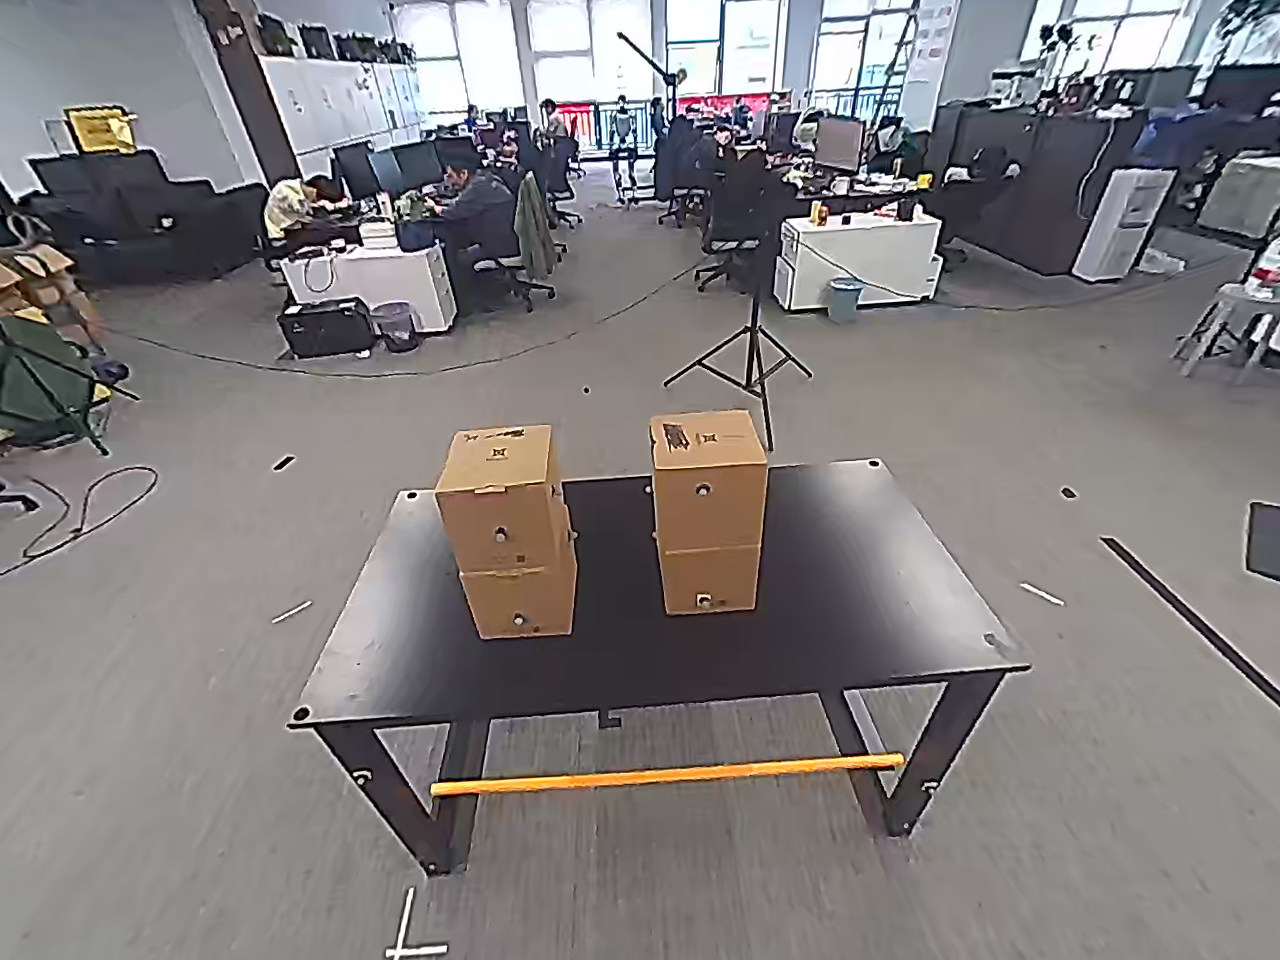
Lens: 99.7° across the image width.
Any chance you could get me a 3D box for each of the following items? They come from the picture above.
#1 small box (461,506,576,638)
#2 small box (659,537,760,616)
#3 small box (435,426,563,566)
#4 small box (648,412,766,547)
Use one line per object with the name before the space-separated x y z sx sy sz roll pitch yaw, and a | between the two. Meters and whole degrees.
small box | -0.213 0.167 0.999 0.168 0.176 0.179 -3 37 0
small box | 0.122 0.133 1.024 0.168 0.176 0.179 -6 37 -1
small box | -0.223 0.031 0.909 0.168 0.176 0.179 -5 37 -2
small box | 0.109 0.001 0.927 0.179 0.176 0.168 -4 37 0
